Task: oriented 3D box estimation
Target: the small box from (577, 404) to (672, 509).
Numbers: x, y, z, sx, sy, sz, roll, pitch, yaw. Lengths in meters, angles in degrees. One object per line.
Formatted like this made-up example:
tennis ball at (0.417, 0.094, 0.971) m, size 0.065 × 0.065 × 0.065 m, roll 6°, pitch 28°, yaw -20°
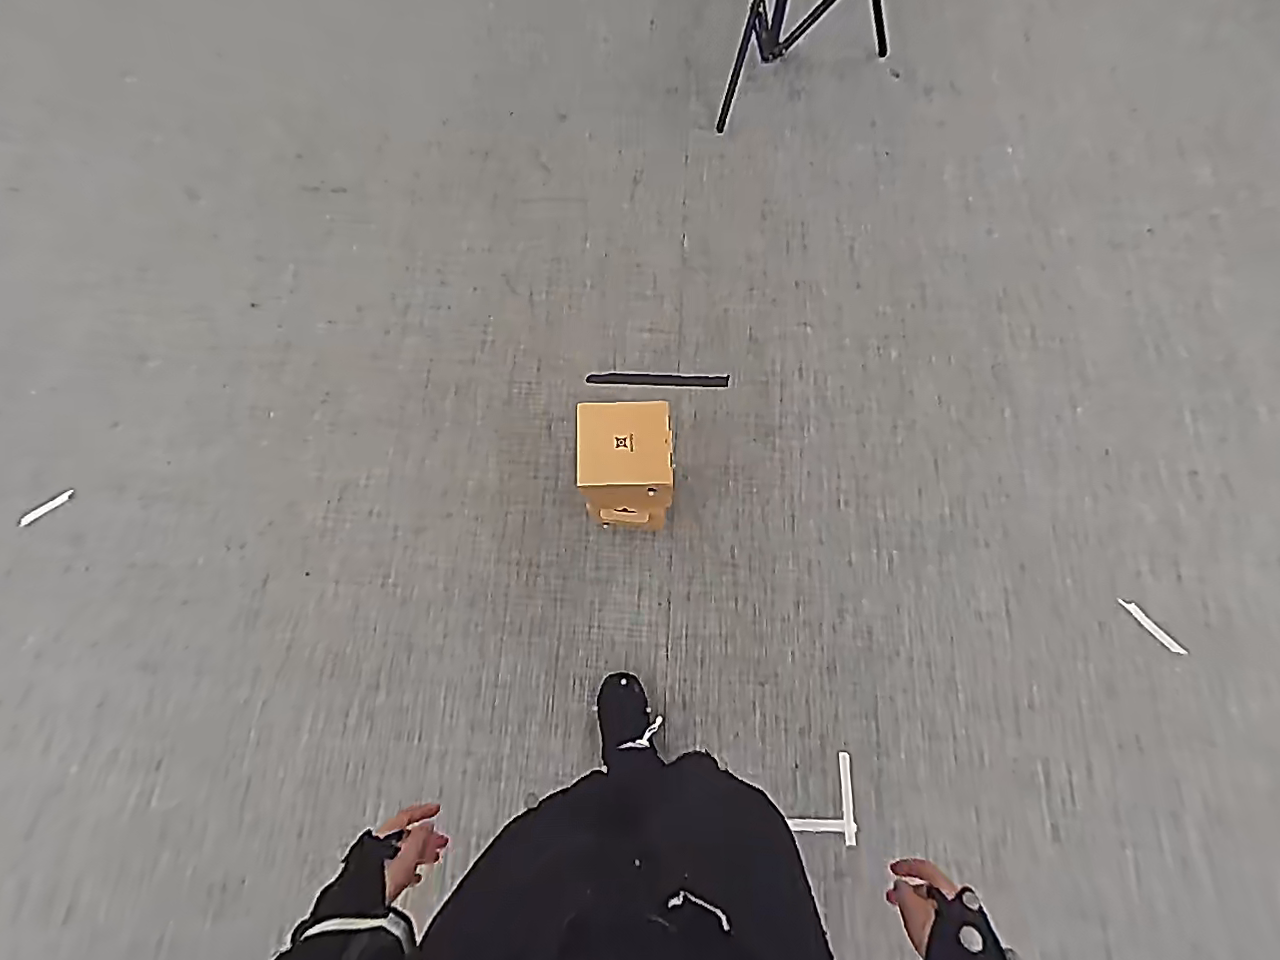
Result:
small box at (-0.027, -0.041, 1.074) m, size 0.179 × 0.176 × 0.168 m, roll -2°, pitch 74°, yaw 0°

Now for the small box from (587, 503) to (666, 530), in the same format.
small box at (-0.021, 0.012, 1.228) m, size 0.168 × 0.176 × 0.179 m, roll 5°, pitch 74°, yaw 2°
